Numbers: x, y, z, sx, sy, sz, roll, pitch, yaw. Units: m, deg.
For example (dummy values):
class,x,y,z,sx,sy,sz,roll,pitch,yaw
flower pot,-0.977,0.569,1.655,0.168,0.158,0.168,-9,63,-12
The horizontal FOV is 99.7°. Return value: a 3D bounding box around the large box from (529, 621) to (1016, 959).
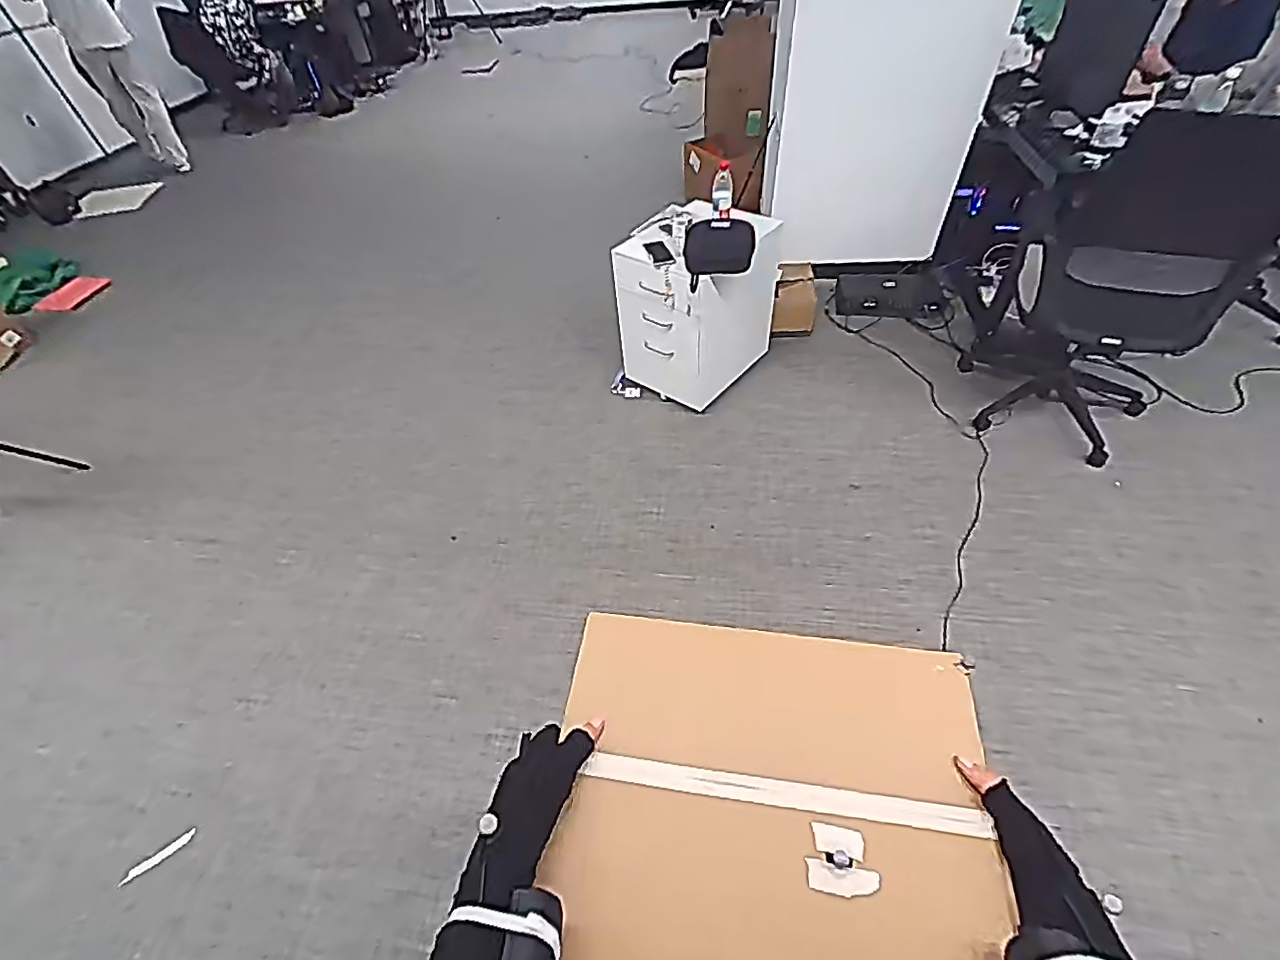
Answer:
class,x,y,z,sx,sy,sz,roll,pitch,yaw
large box,0.130,0.389,0.634,0.408,0.320,0.320,4,54,9
